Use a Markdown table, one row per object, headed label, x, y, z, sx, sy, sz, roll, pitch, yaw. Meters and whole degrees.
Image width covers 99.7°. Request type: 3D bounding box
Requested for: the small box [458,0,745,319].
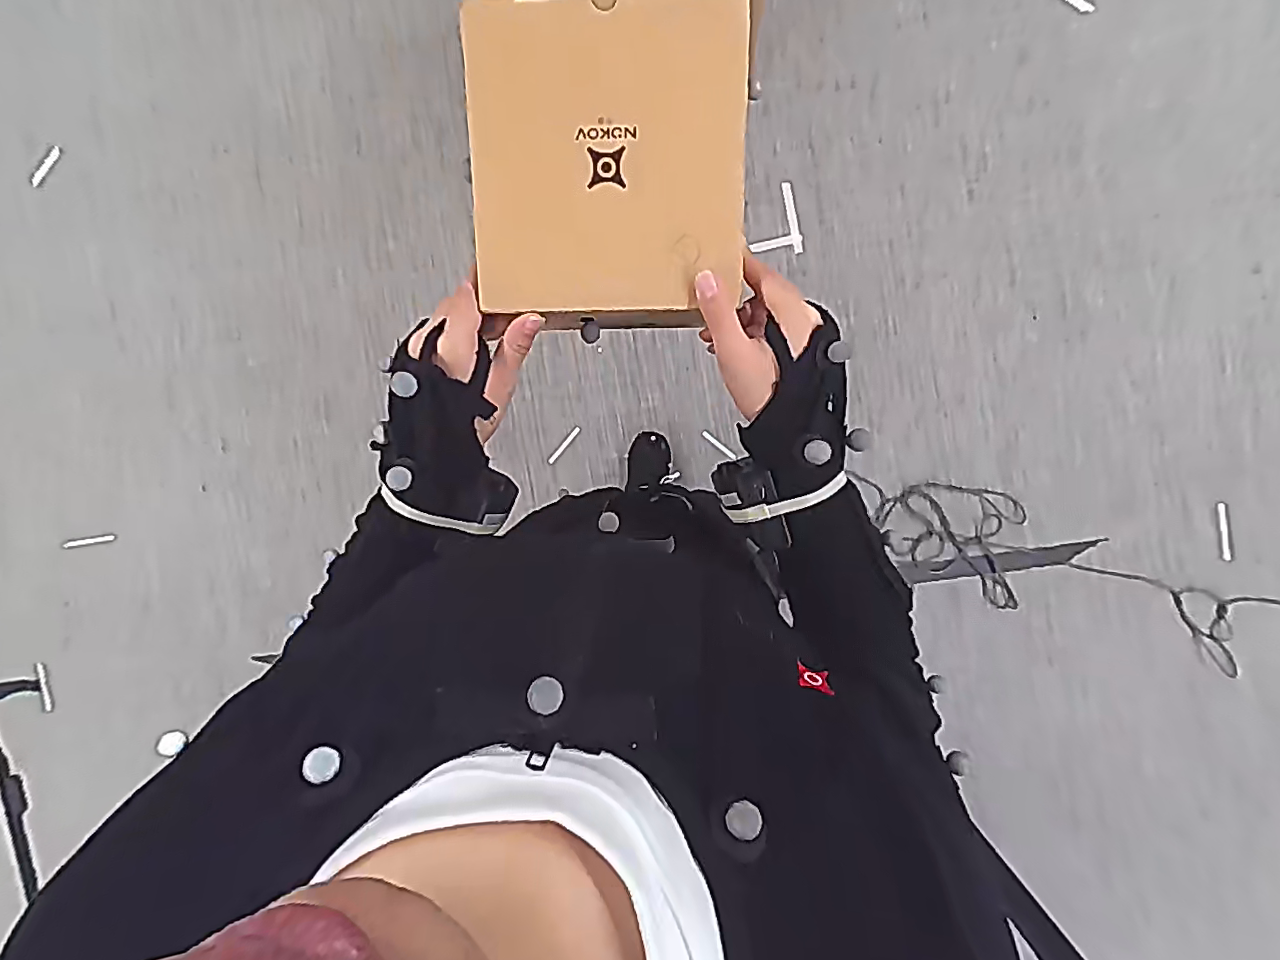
| label | x | y | z | sx | sy | sz | roll | pitch | yaw |
| --- | --- | --- | --- | --- | --- | --- | --- | --- | --- |
| small box | -0.018 | -0.213 | 0.396 | 0.168 | 0.176 | 0.179 | 0 | 100 | 3 |
